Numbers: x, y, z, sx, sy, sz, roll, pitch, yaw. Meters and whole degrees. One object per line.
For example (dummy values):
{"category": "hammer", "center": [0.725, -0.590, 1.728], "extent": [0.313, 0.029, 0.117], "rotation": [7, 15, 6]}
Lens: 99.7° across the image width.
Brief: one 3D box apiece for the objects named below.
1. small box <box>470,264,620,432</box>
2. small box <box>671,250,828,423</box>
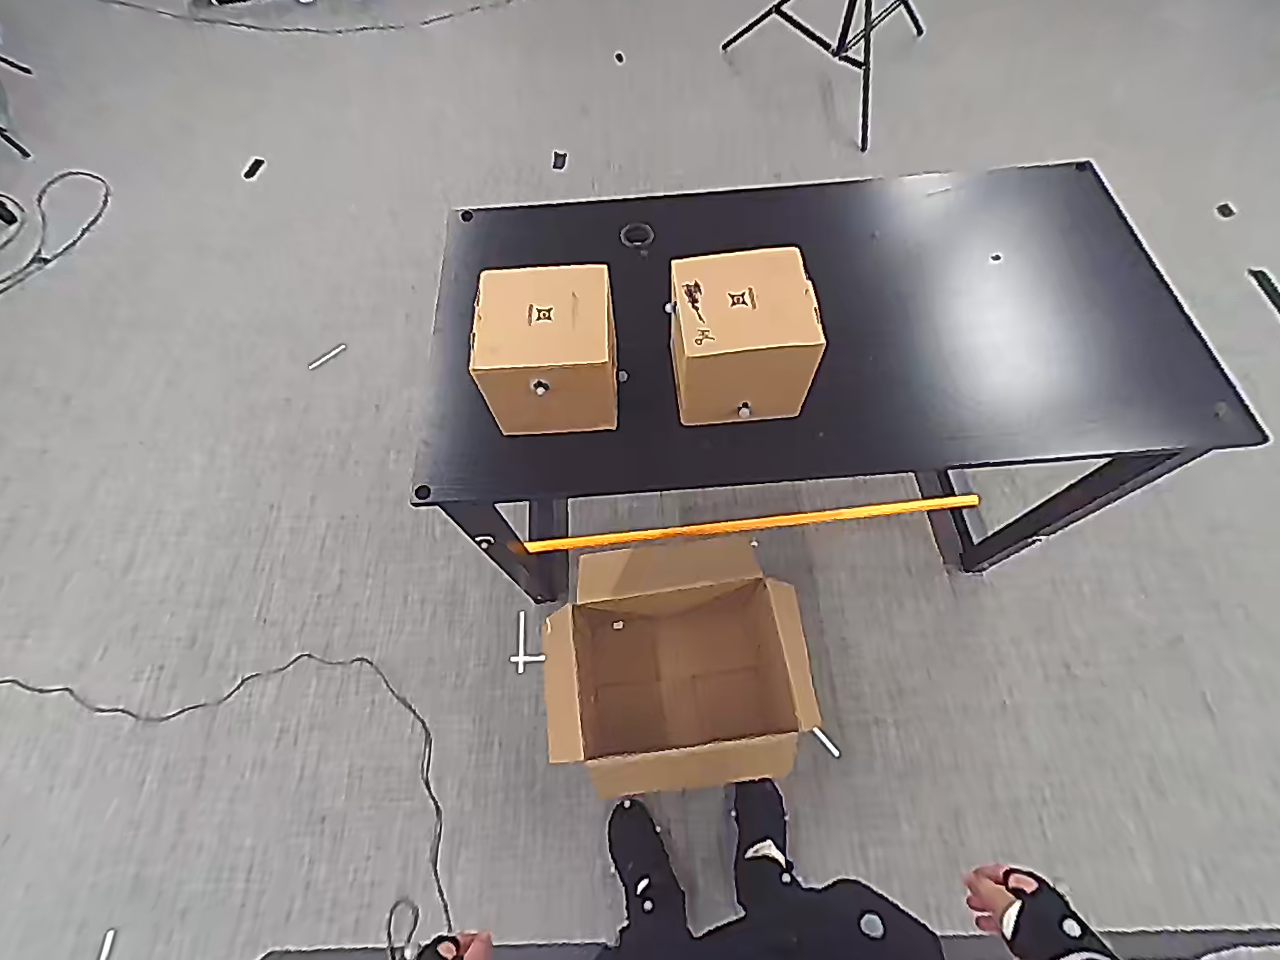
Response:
{"category": "small box", "center": [-0.123, -0.179, 0.769], "extent": [0.179, 0.176, 0.168], "rotation": [-3, 66, 0]}
{"category": "small box", "center": [0.140, -0.195, 0.763], "extent": [0.179, 0.176, 0.168], "rotation": [-5, 64, 0]}
